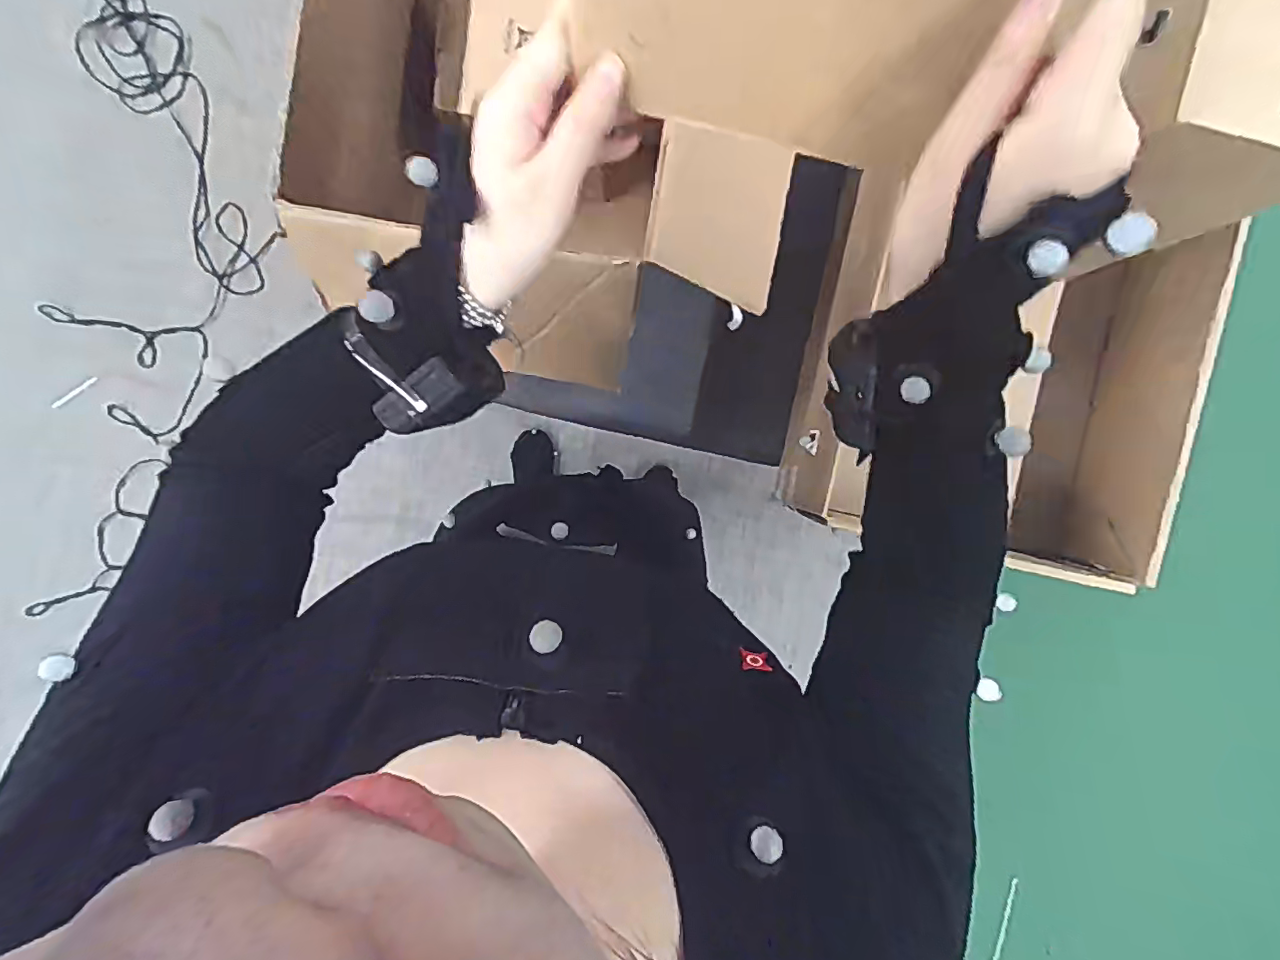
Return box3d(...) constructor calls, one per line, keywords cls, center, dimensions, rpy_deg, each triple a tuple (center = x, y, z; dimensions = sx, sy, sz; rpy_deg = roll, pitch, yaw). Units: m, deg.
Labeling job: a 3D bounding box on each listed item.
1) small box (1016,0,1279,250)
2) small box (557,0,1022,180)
box3d(cls="small box", center=(0.487, -0.338, 0.488), dimensions=(0.168, 0.176, 0.179), rpy_deg=(12, 94, -4))
box3d(cls="small box", center=(0.073, -0.268, 0.221), dimensions=(0.179, 0.168, 0.176), rpy_deg=(13, 63, -1))
